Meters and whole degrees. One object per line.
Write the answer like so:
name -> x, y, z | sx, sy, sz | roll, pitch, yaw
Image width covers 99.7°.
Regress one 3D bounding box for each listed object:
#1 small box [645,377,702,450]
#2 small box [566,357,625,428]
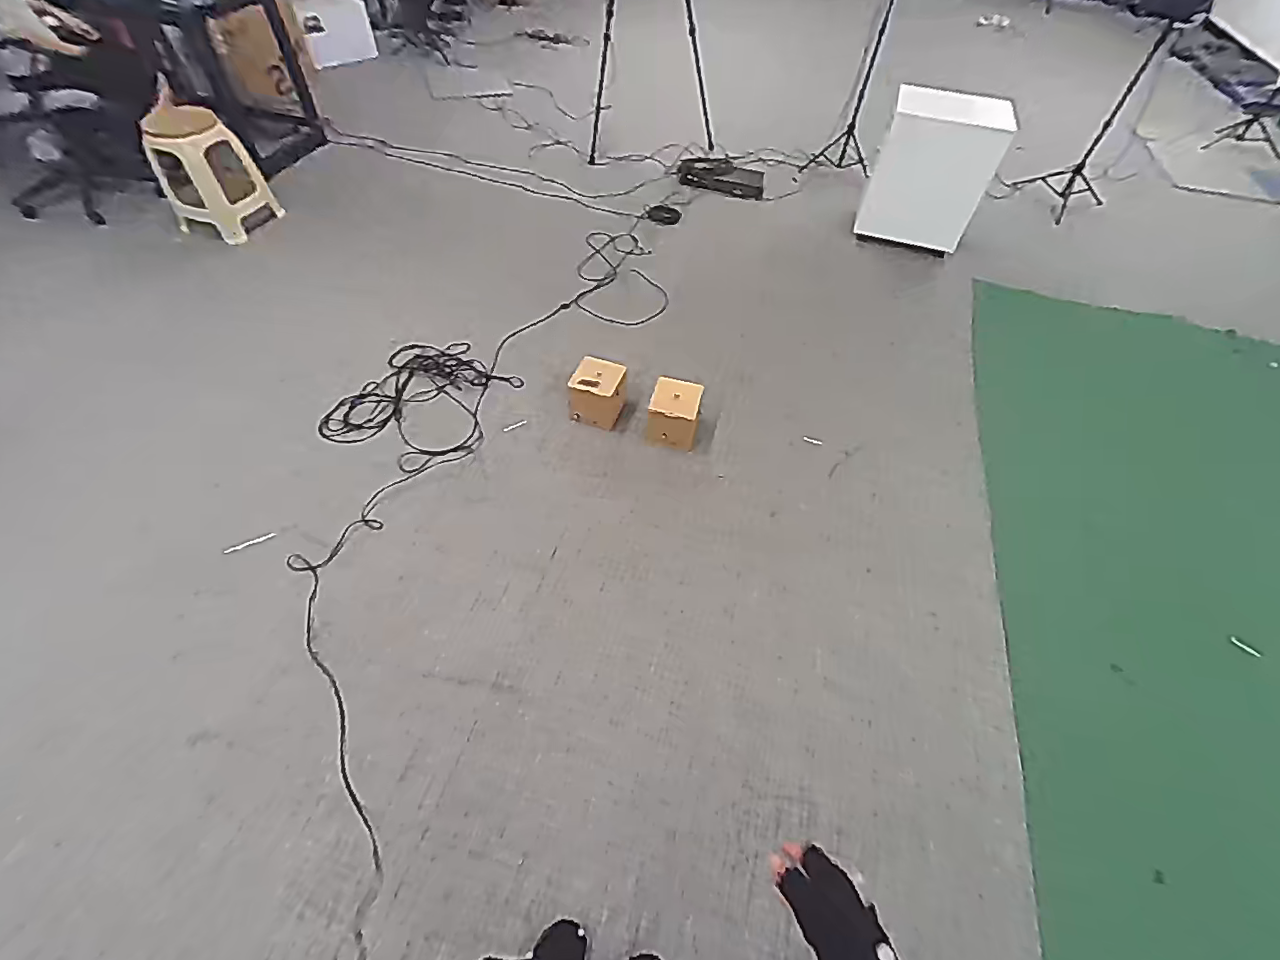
small box -> 0.118, -0.236, 1.940 | 0.168, 0.176, 0.179 | 13, 54, 7
small box -> -0.158, -0.317, 1.984 | 0.168, 0.176, 0.179 | 17, 53, 10
